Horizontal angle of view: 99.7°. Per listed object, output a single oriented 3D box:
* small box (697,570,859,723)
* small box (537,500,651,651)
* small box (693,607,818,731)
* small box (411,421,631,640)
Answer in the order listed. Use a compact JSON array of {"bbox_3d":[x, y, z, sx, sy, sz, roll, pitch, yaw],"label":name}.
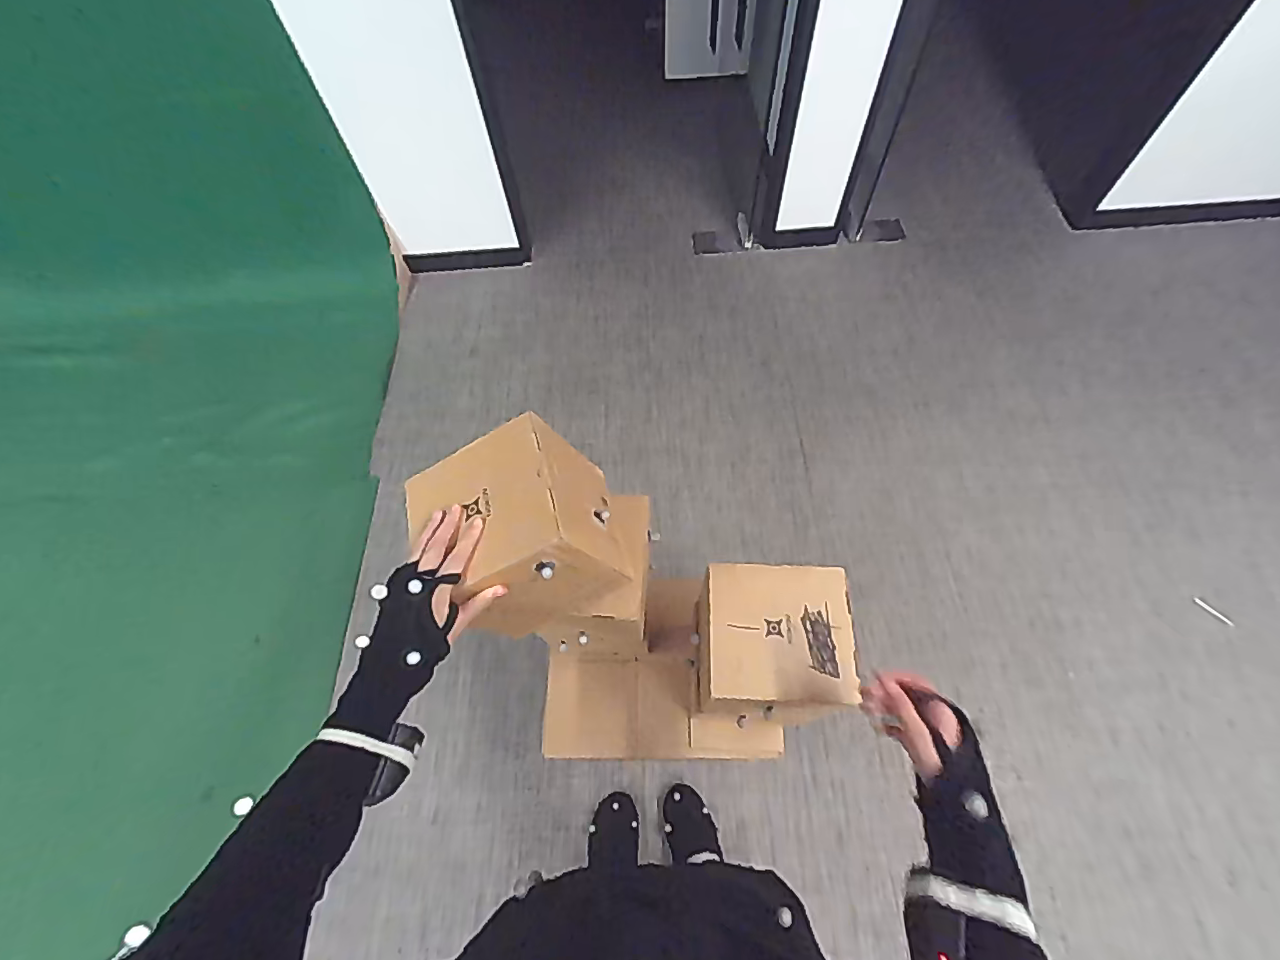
[{"bbox_3d":[0.171,0.229,0.728,0.179,0.176,0.168,2,62,4],"label":"small box"},{"bbox_3d":[-0.073,0.140,0.793,0.168,0.176,0.179,3,63,5],"label":"small box"},{"bbox_3d":[0.174,0.308,0.871,0.179,0.176,0.168,1,63,4],"label":"small box"},{"bbox_3d":[-0.136,0.070,0.629,0.179,0.176,0.168,-27,57,11],"label":"small box"}]
